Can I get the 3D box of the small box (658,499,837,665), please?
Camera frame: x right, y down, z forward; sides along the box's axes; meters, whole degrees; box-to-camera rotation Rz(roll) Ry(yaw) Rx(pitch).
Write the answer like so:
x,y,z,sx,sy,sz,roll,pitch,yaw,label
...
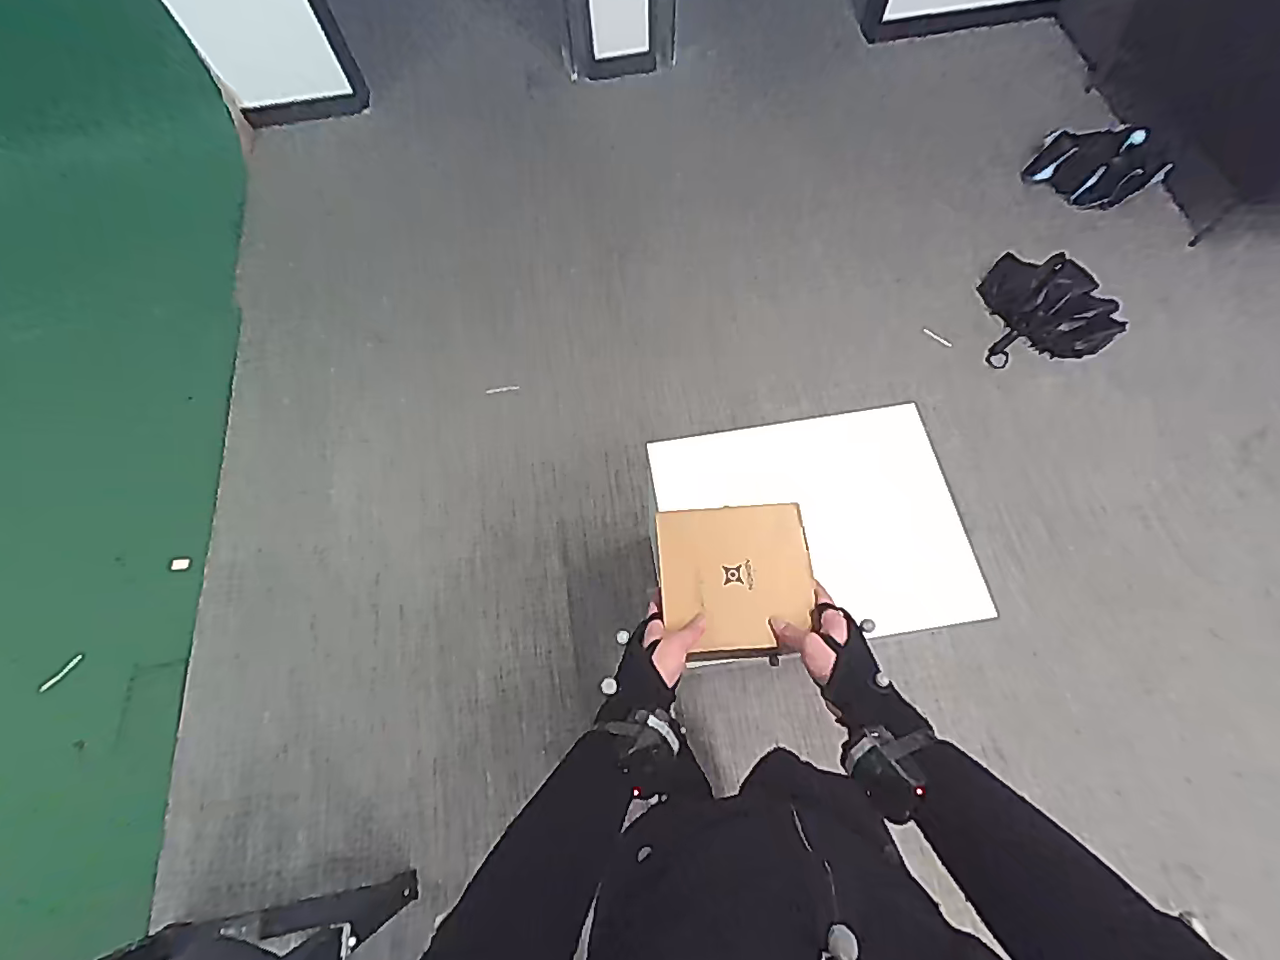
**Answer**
x,y,z,sx,sy,sz,roll,pitch,yaw,label
0.117,0.133,0.672,0.179,0.176,0.168,-5,66,-1,small box
